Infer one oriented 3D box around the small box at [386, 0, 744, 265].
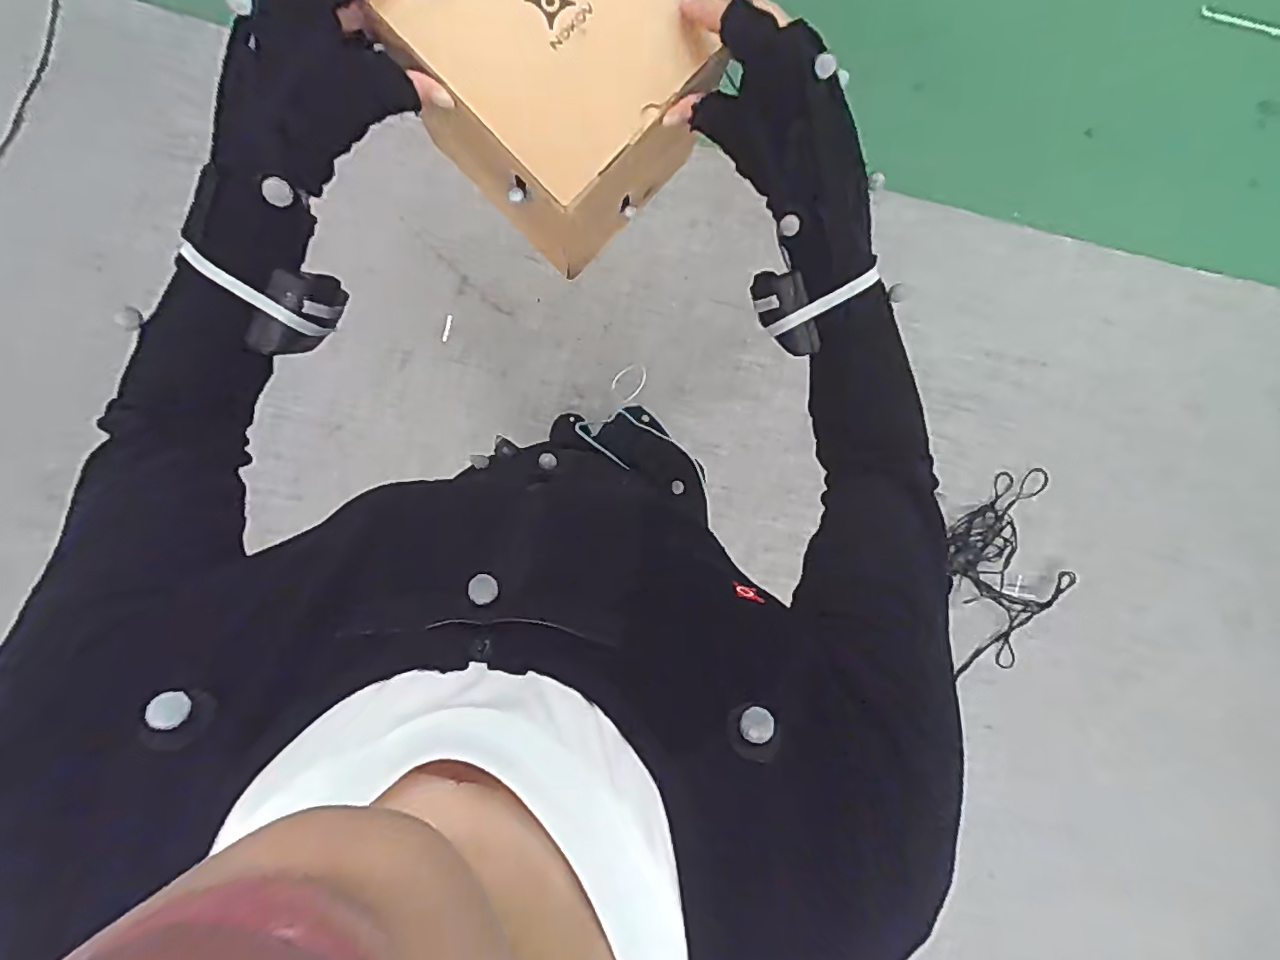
[{"bbox_3d":[-0.056,-0.304,0.423,0.168,0.176,0.179,-45,100,-1],"label":"small box"}]
